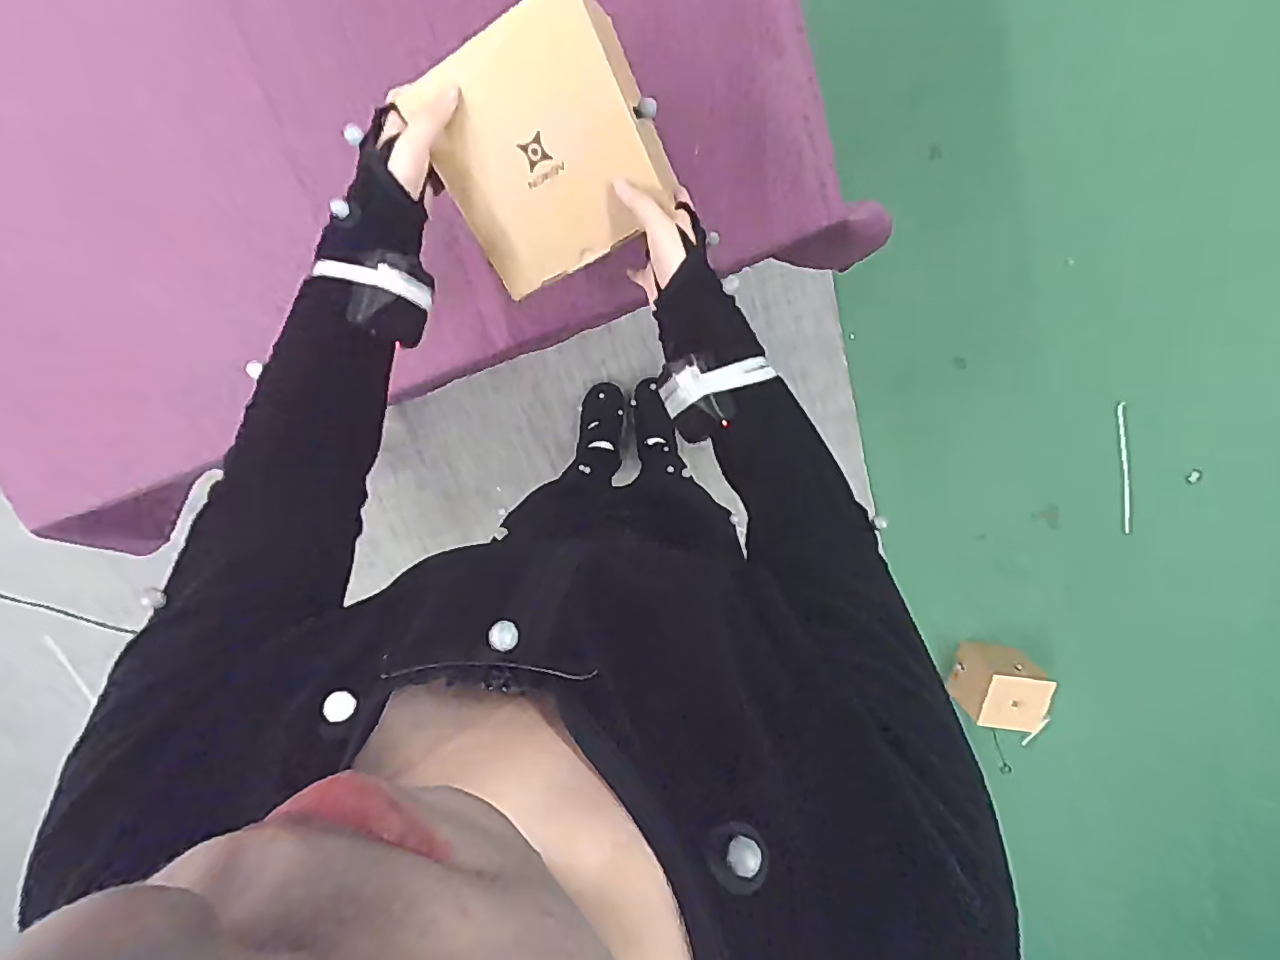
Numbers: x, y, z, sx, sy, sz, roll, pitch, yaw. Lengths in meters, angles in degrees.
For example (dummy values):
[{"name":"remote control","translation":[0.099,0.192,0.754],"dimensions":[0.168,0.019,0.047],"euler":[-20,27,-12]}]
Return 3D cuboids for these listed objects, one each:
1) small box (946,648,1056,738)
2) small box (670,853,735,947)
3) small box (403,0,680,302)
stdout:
[{"name":"small box","translation":[1.020,0.602,1.542],"dimensions":[0.179,0.176,0.168],"euler":[8,105,-1]},{"name":"small box","translation":[0.200,1.363,1.764],"dimensions":[0.179,0.176,0.168],"euler":[-15,105,5]},{"name":"small box","translation":[-0.072,-0.300,0.508],"dimensions":[0.168,0.176,0.179],"euler":[-21,118,20]}]
